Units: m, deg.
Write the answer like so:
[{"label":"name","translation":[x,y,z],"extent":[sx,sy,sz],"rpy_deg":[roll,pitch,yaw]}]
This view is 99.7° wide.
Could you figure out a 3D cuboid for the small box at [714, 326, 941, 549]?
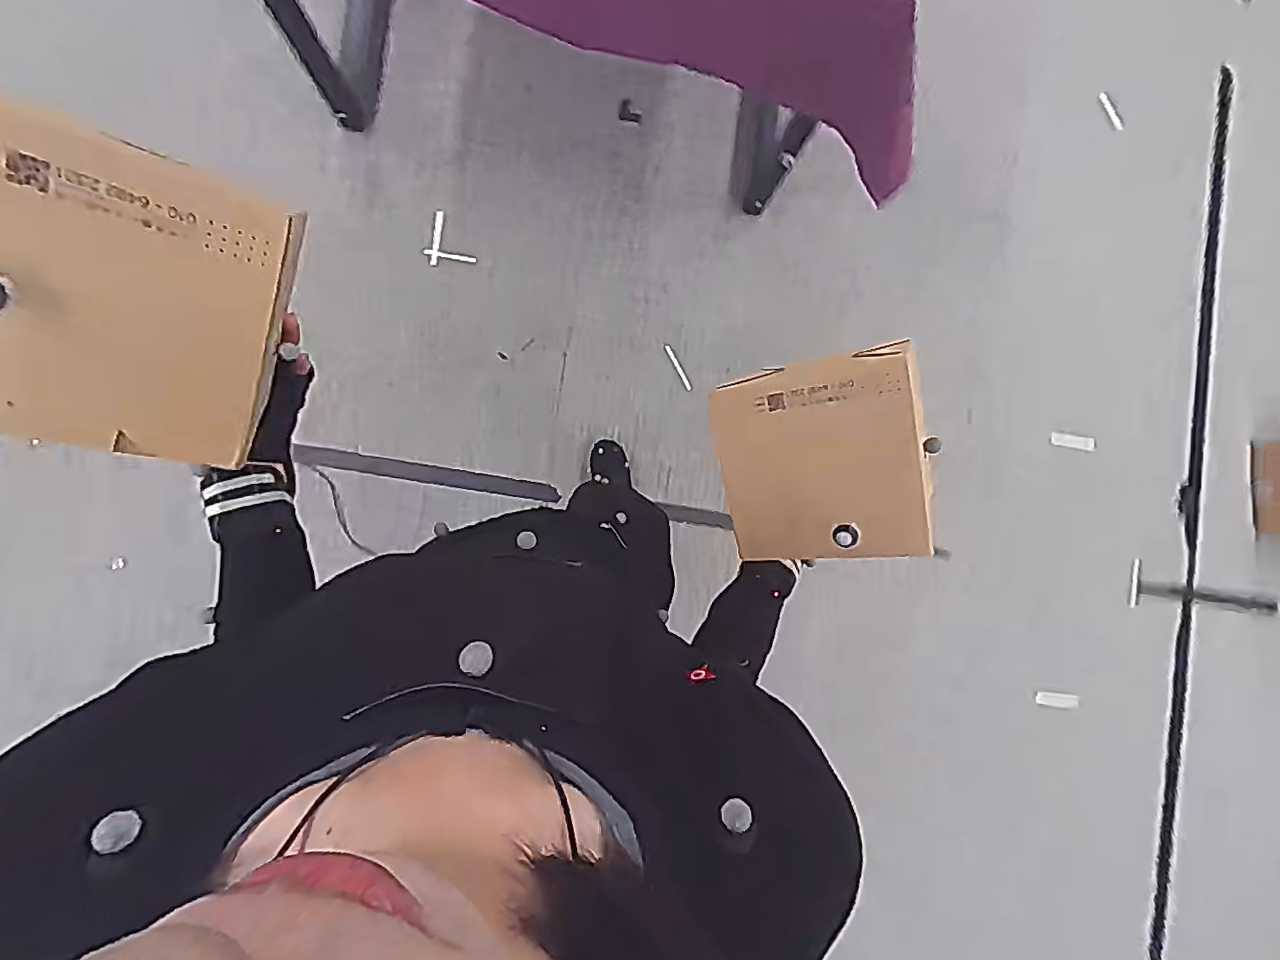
[{"label":"small box","translation":[0.187,-0.047,0.524],"extent":[0.168,0.179,0.176],"rpy_deg":[-8,103,30]}]

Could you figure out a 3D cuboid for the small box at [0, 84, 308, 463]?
[{"label":"small box","translation":[-0.329,-0.132,0.350],"extent":[0.168,0.179,0.176],"rpy_deg":[13,109,-32]}]
